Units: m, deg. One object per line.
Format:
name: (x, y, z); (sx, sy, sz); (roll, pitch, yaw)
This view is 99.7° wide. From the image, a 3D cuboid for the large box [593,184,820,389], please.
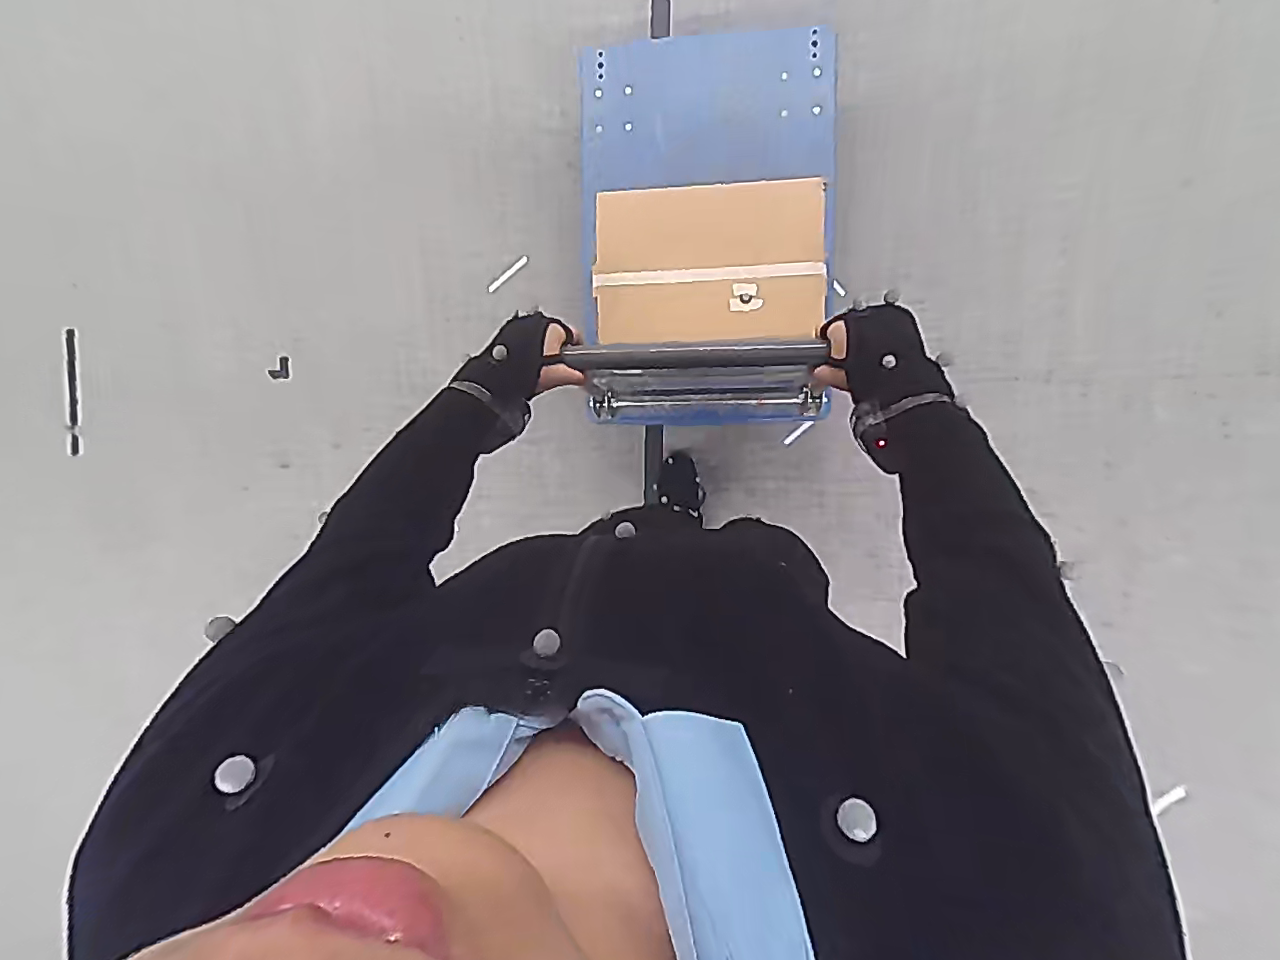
large box: (0.131, -0.364, 1.112); (0.408, 0.320, 0.320); (0, 94, 6)
